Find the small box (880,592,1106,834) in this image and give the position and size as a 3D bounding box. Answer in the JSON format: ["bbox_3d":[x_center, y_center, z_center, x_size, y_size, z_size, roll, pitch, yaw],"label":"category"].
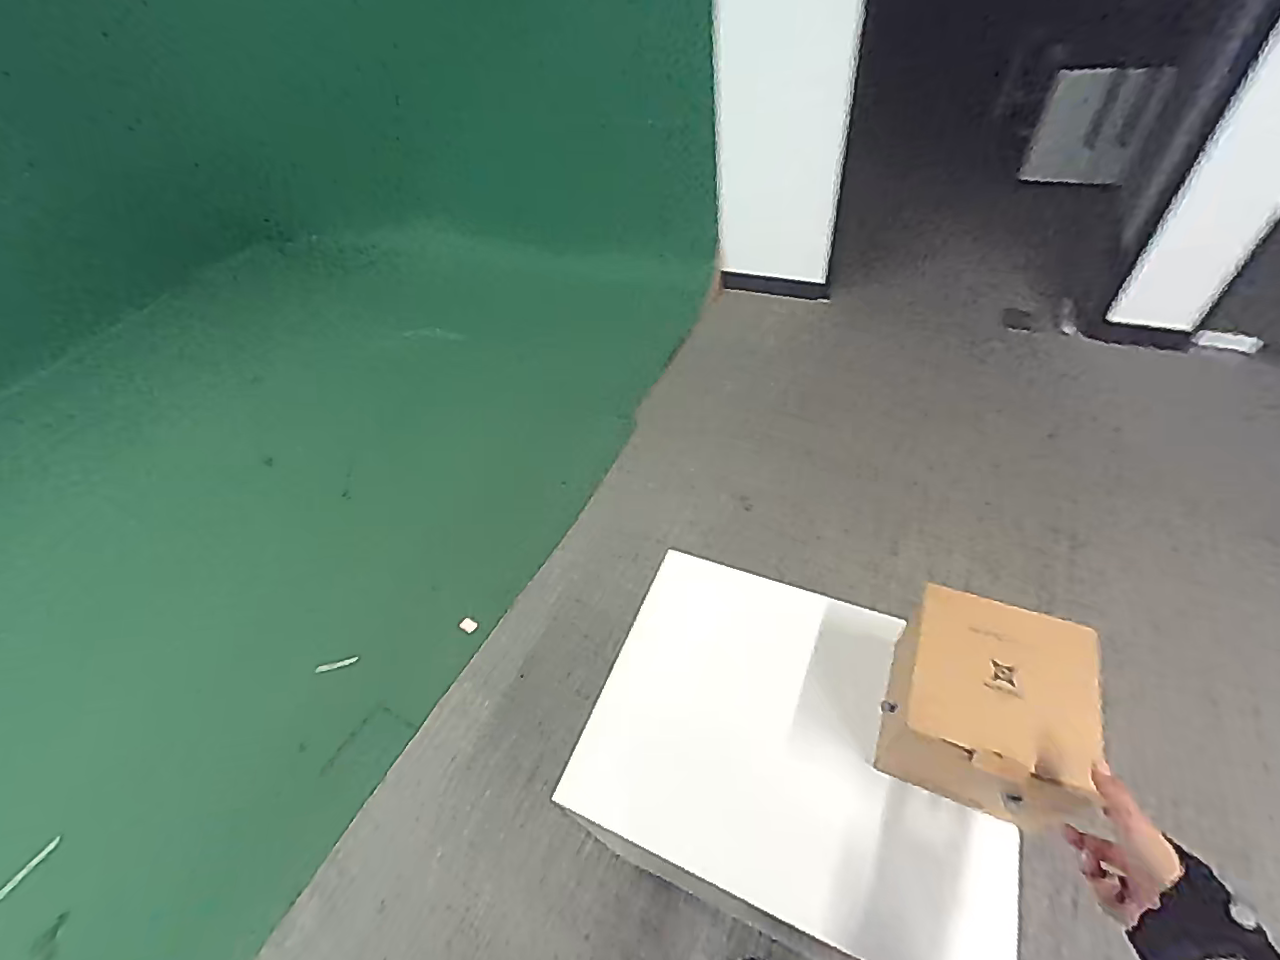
[{"bbox_3d":[0.380,0.262,0.606,0.168,0.176,0.179,15,53,21],"label":"small box"}]
